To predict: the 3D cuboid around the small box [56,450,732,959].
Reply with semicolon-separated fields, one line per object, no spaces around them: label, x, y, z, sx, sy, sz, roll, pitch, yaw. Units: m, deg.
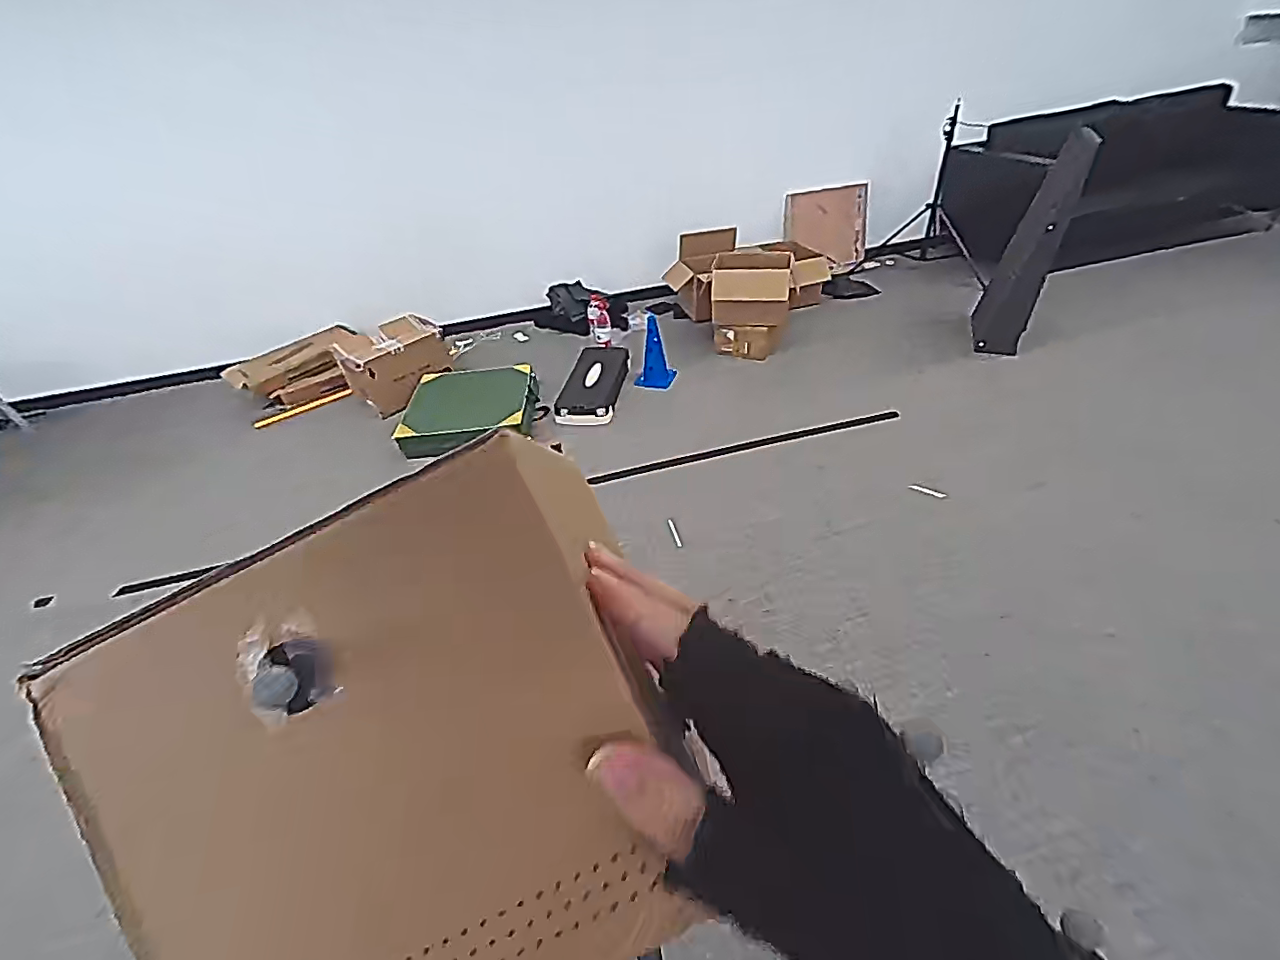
small box;-0.079;0.104;0.251;0.179;0.176;0.168;-27;-1;2
